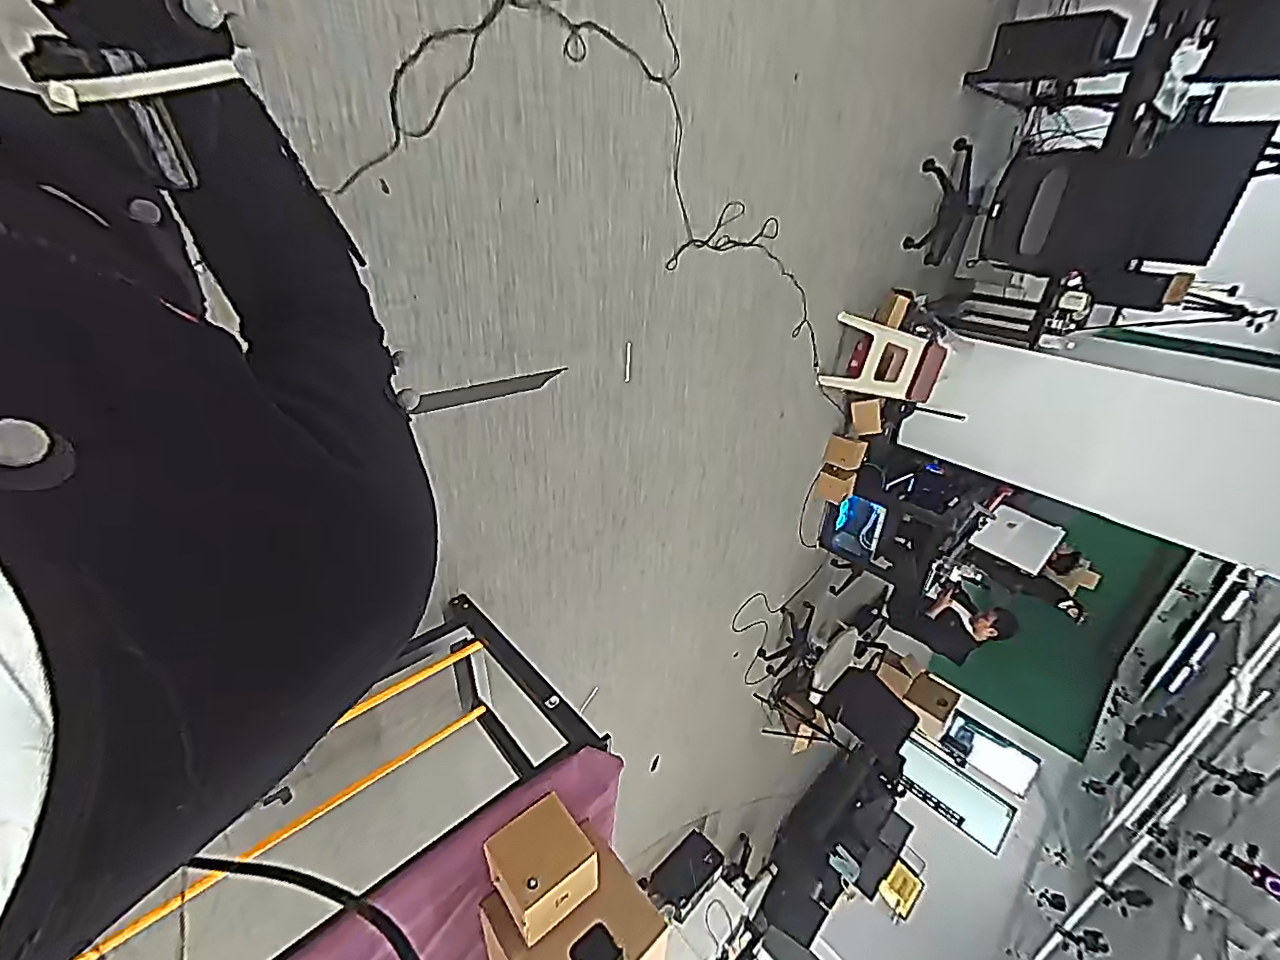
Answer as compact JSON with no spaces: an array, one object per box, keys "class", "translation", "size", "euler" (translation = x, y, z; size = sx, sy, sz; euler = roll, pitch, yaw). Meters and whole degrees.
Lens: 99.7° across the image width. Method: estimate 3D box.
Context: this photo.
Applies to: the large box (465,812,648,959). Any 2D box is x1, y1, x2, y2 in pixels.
[{"class":"large box","translation":[-0.196,1.127,1.313],"size":[0.320,0.320,0.408],"euler":[-22,126,-37]}]
